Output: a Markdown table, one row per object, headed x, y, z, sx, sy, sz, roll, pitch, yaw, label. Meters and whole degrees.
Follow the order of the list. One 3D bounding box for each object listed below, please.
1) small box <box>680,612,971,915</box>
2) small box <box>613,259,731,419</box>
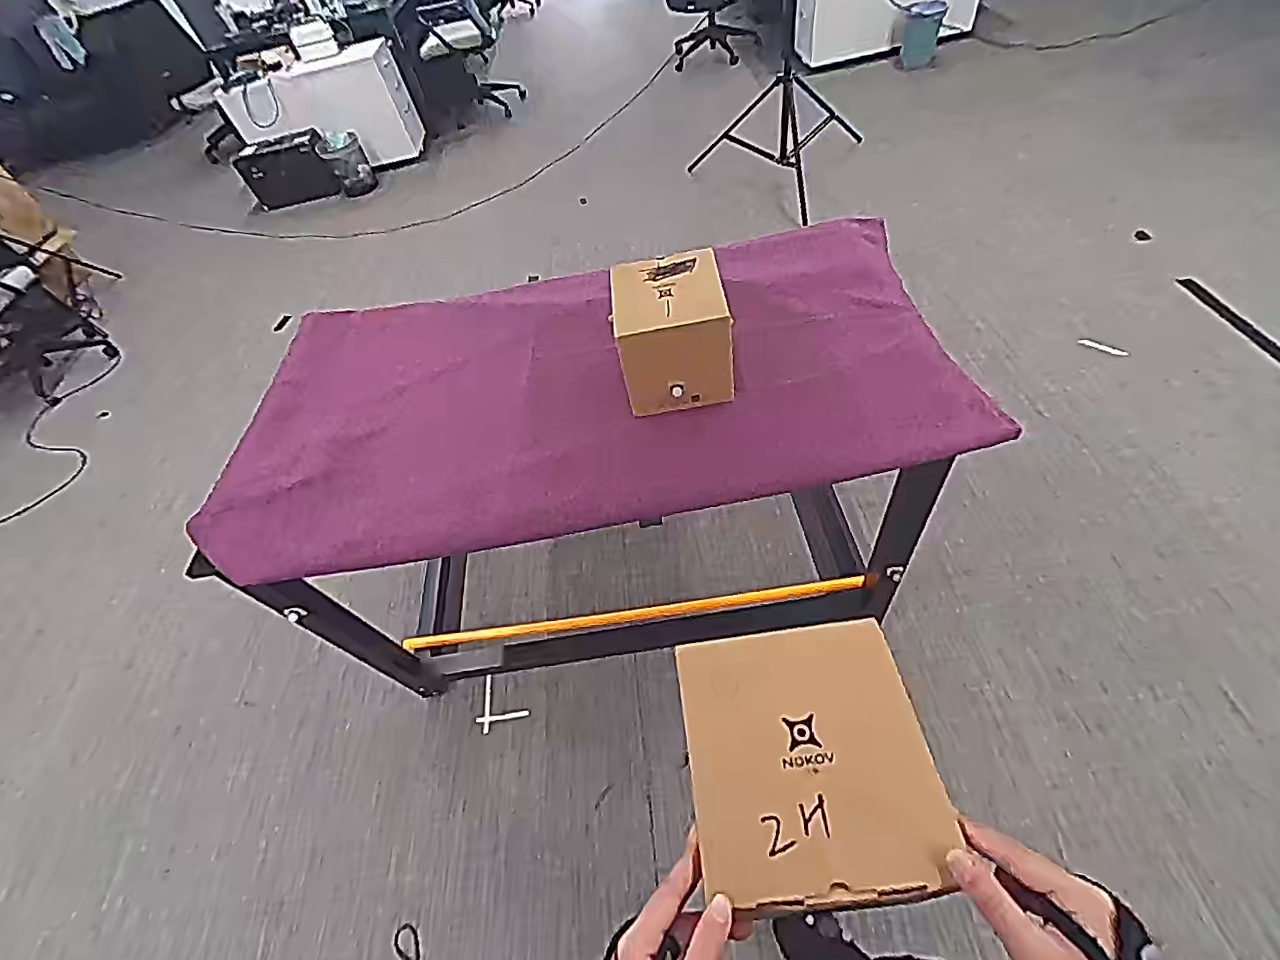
| x | y | z | sx | sy | sz | roll | pitch | yaw | label |
| --- | --- | --- | --- | --- | --- | --- | --- | --- | --- |
| 0.128 | 0.235 | 0.446 | 0.168 | 0.176 | 0.179 | -9 | 47 | 5 | small box |
| 0.052 | -0.224 | 0.872 | 0.168 | 0.176 | 0.179 | -9 | 52 | 5 | small box |
